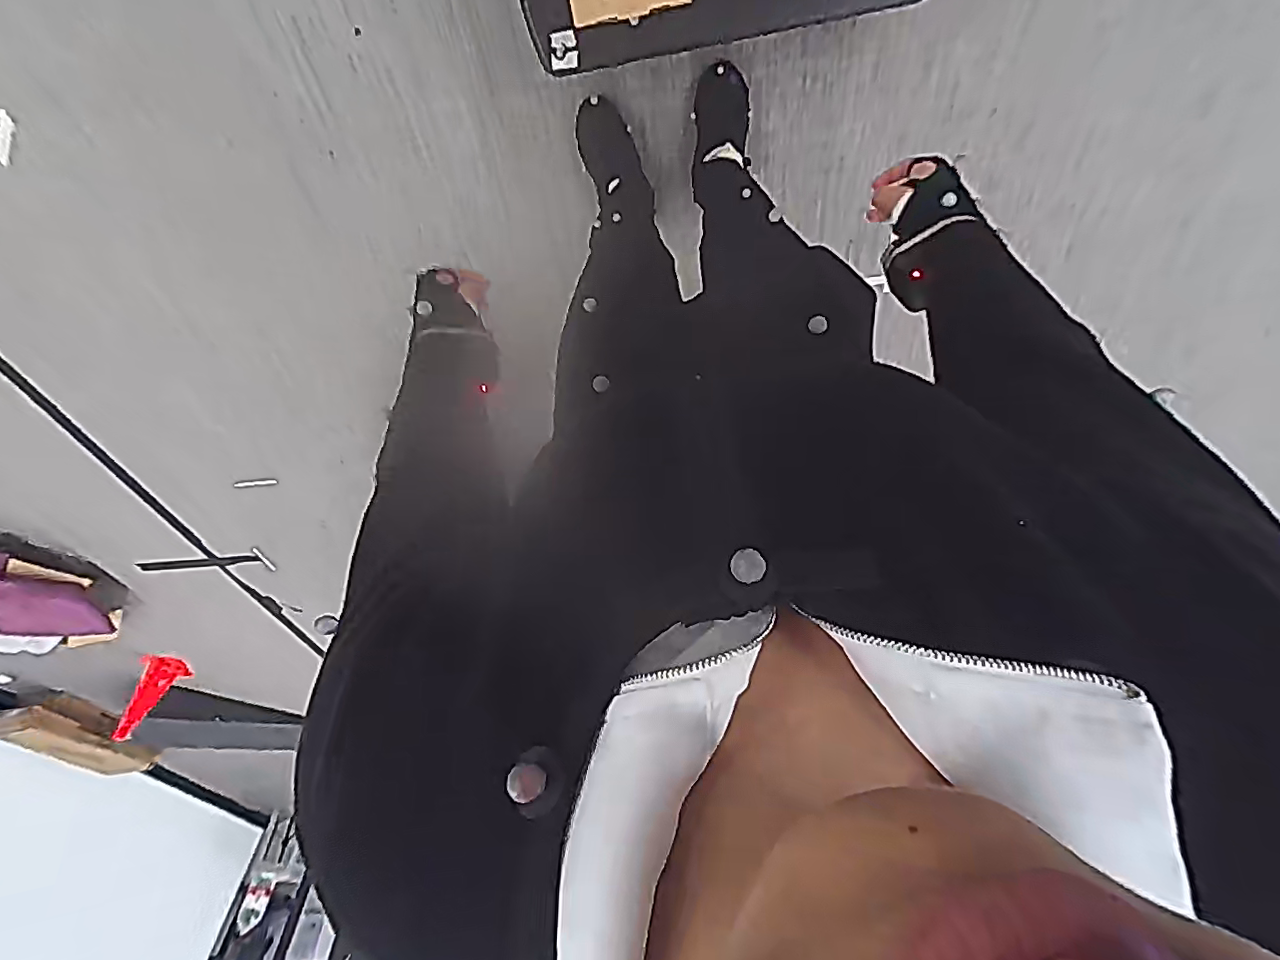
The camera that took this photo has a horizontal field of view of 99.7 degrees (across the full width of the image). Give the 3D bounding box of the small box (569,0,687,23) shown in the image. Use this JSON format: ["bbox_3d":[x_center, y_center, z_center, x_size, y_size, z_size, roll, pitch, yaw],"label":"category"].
[{"bbox_3d":[-0.026,-0.753,0.735,0.168,0.176,0.179,-7,133,7],"label":"small box"}]
